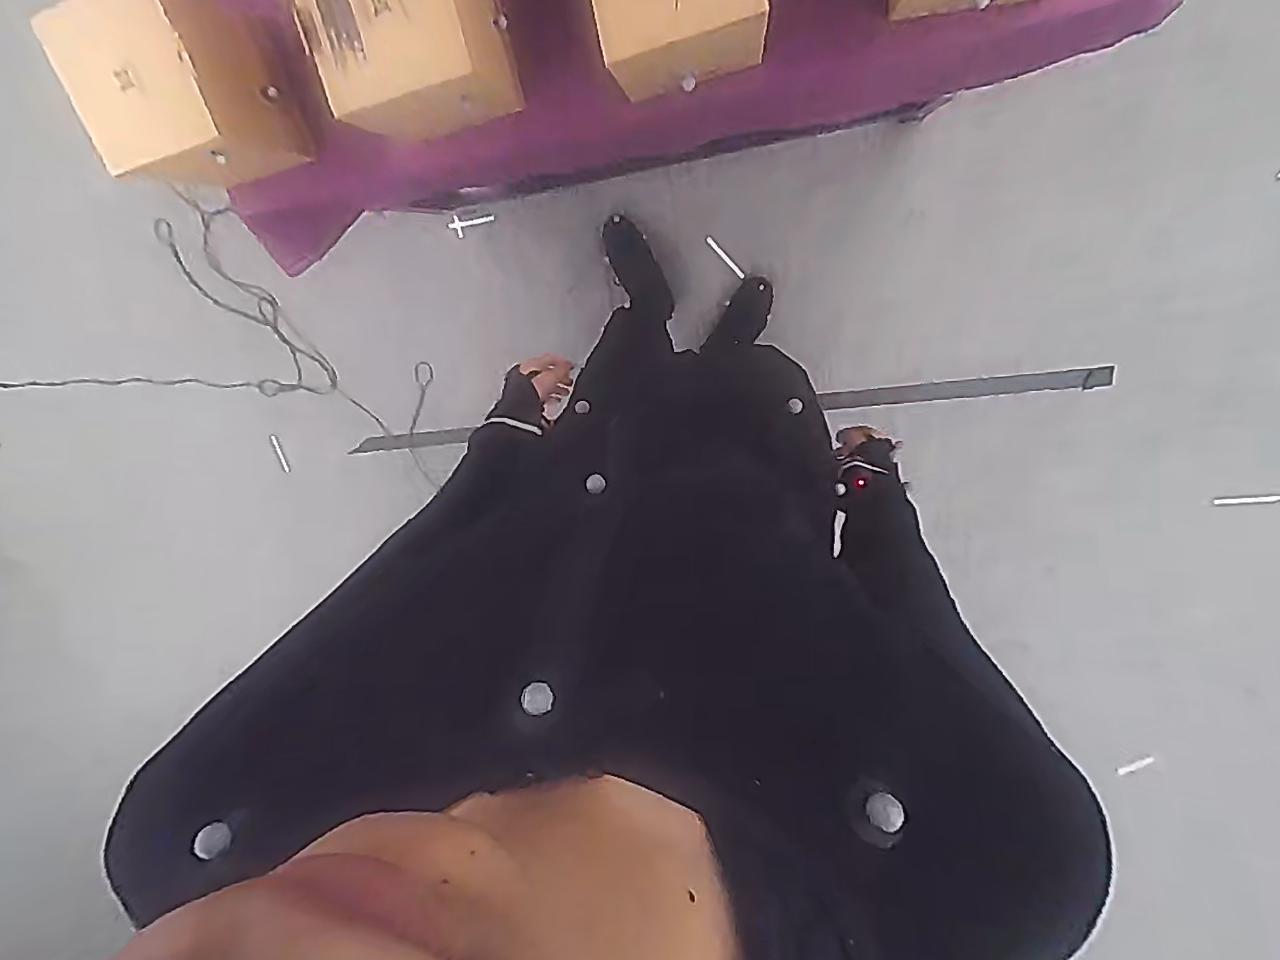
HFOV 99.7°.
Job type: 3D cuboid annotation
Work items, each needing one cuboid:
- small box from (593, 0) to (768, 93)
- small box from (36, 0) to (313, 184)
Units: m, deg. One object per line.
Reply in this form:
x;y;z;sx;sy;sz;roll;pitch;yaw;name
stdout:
0.037;-0.543;0.563;0.168;0.176;0.179;-7;113;14;small box
-0.575;-0.497;0.695;0.179;0.176;0.168;-9;112;13;small box
